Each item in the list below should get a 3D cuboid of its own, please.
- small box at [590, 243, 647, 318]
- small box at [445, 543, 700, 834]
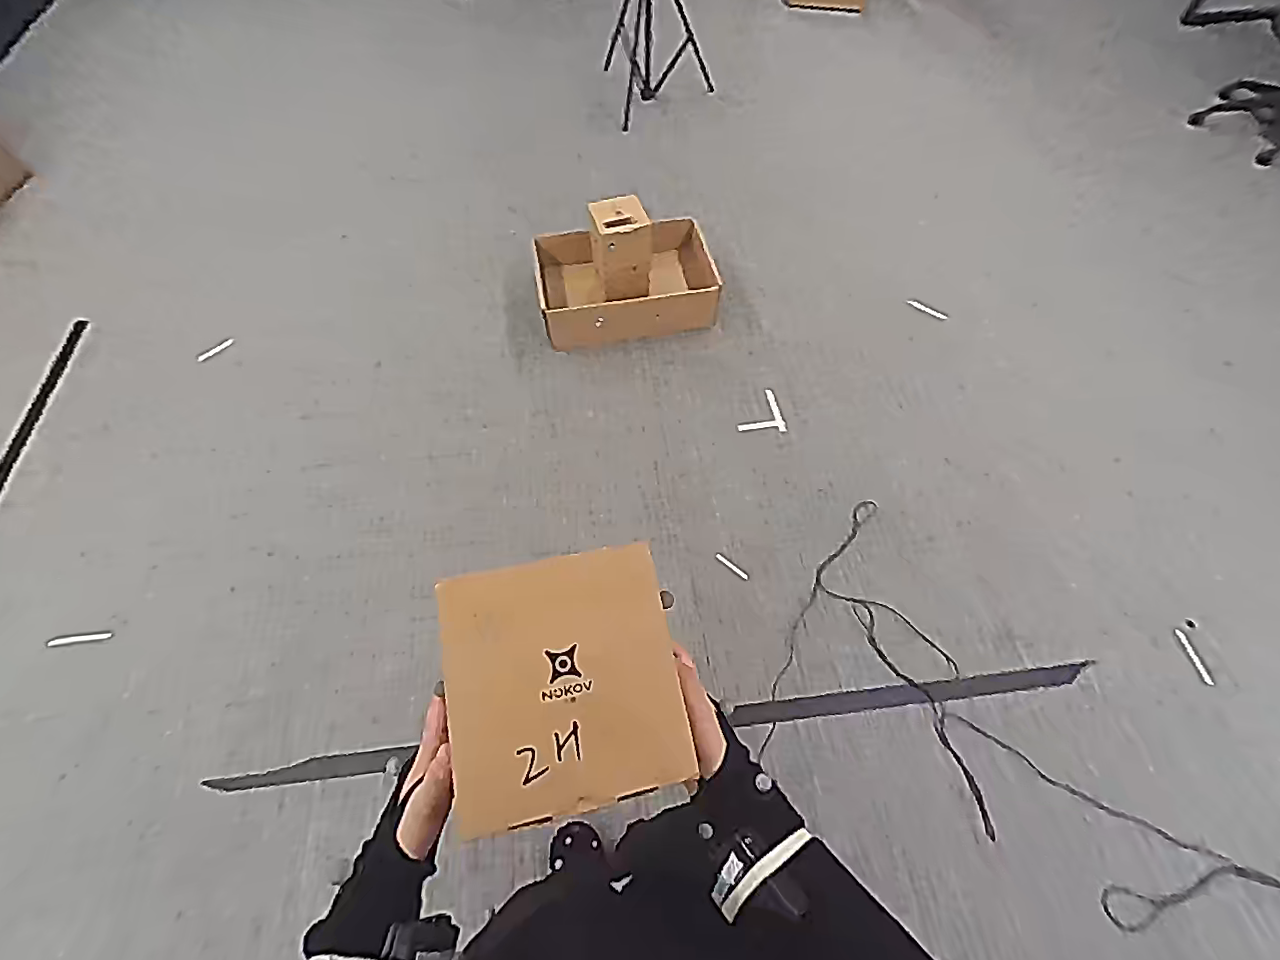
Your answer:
[{"bbox_3d":[-0.079,-0.715,1.943,0.168,0.176,0.179,-15,62,-8],"label":"small box"},{"bbox_3d":[-0.063,0.169,0.467,0.168,0.176,0.179,-9,71,-10],"label":"small box"}]
